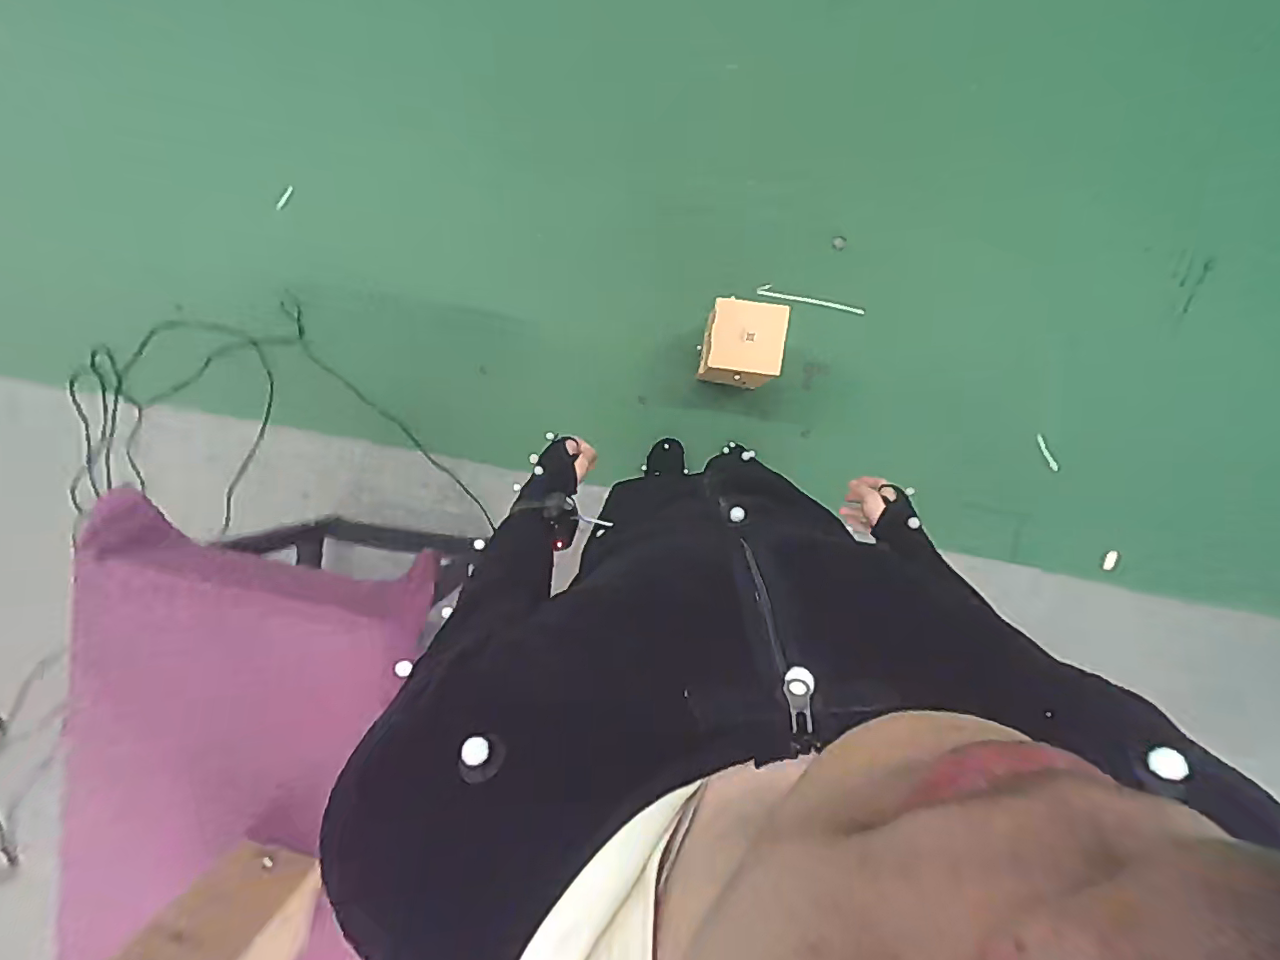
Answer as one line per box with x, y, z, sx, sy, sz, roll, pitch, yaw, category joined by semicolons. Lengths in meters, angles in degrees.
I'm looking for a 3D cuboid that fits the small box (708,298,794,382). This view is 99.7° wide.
0.270;-0.343;1.351;0.179;0.176;0.168;8;95;4;small box

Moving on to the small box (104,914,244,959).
-0.723;0.791;0.785;0.168;0.176;0.179;15;95;3;small box

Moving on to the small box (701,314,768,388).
0.273;-0.356;1.513;0.179;0.176;0.168;11;95;3;small box
